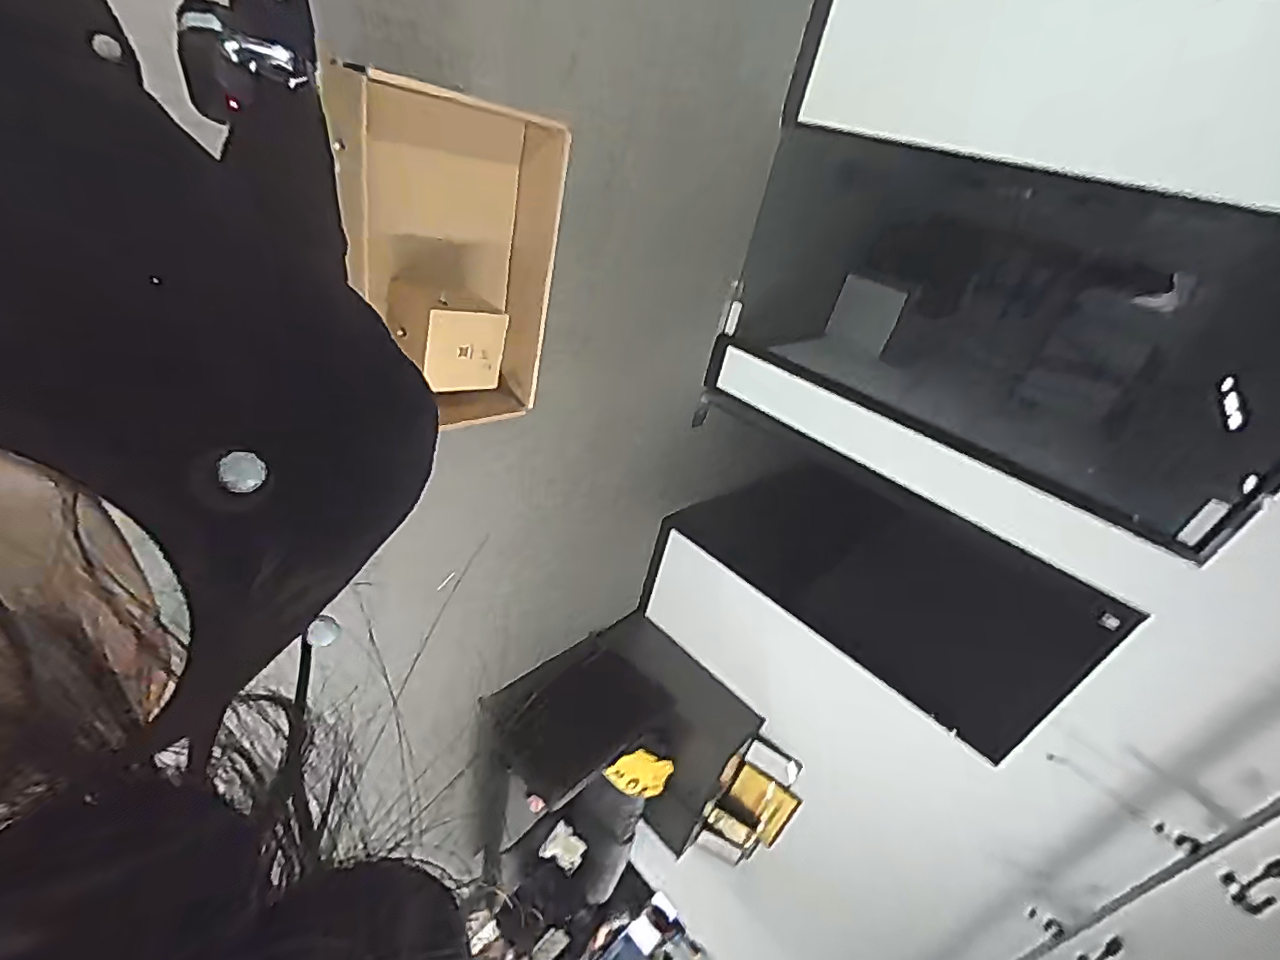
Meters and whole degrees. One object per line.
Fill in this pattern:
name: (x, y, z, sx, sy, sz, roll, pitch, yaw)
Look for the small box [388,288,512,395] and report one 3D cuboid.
small box: (-0.394, -0.284, 1.110, 0.179, 0.176, 0.168, -13, 130, -47)
